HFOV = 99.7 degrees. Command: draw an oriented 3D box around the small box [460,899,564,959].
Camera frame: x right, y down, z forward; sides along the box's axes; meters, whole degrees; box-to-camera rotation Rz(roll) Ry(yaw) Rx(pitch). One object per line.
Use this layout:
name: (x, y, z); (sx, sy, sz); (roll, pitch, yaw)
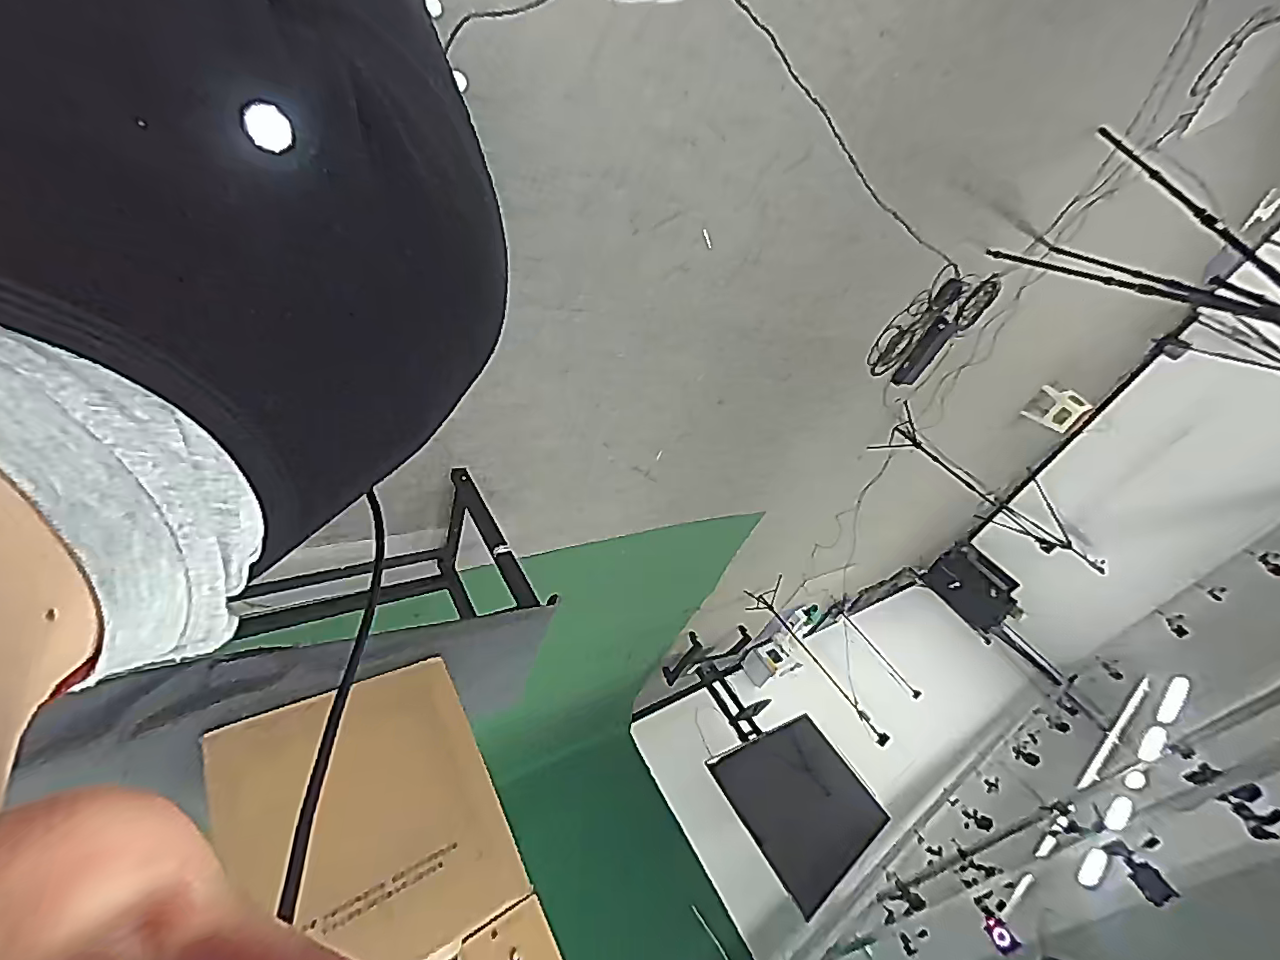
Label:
small box: (-0.272, 1.041, 1.150); (0.168, 0.176, 0.179); (-14, 139, -35)
